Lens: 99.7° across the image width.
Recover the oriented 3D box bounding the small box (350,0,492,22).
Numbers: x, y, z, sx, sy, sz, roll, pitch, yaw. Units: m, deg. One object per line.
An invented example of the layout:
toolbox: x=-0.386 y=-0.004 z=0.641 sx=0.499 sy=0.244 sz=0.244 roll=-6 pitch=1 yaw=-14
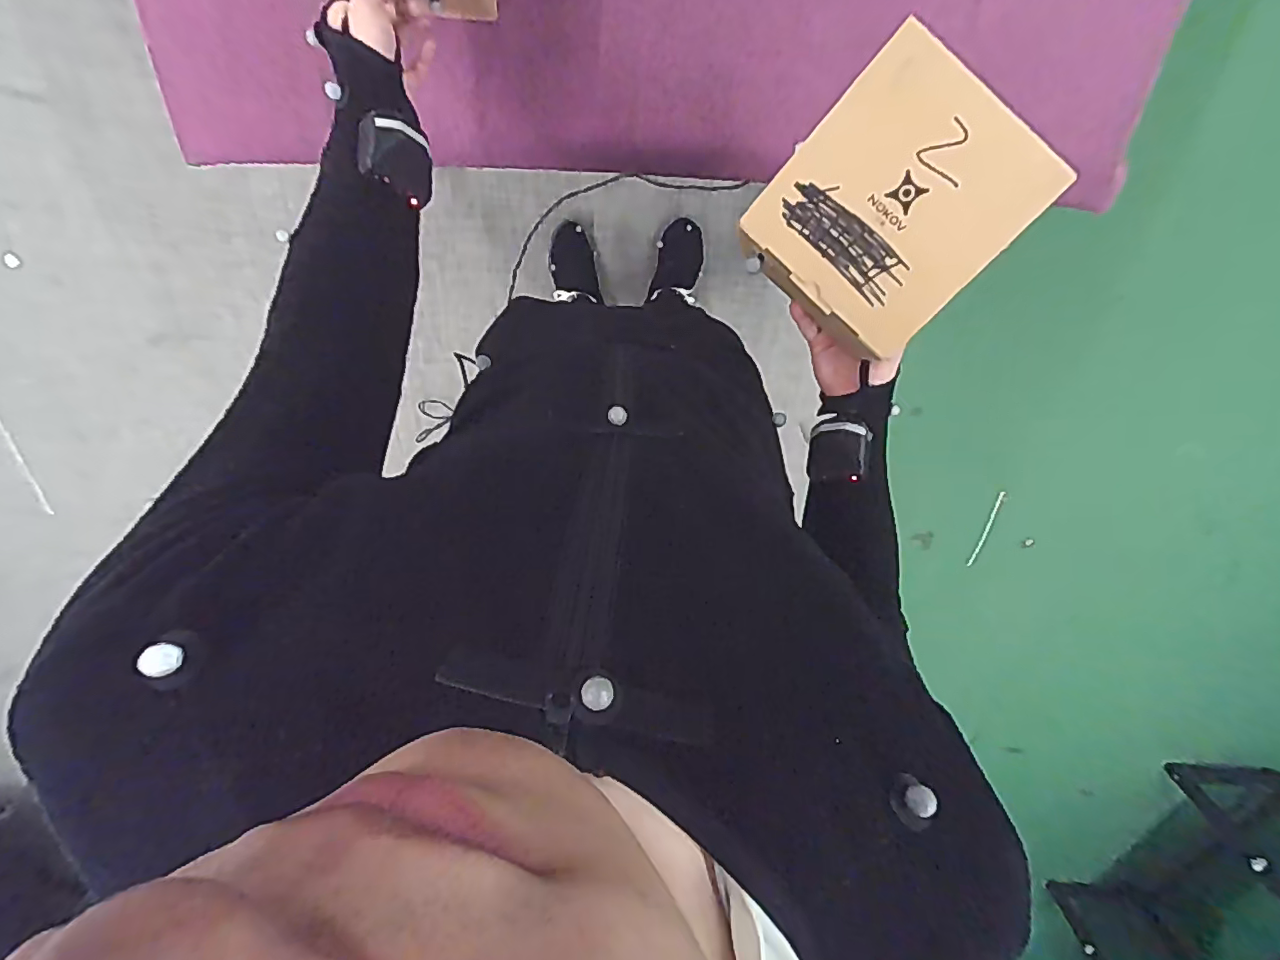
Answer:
small box: x=-0.242 y=-0.571 z=0.514 sx=0.168 sy=0.176 sz=0.179 roll=3 pitch=118 yaw=-4
